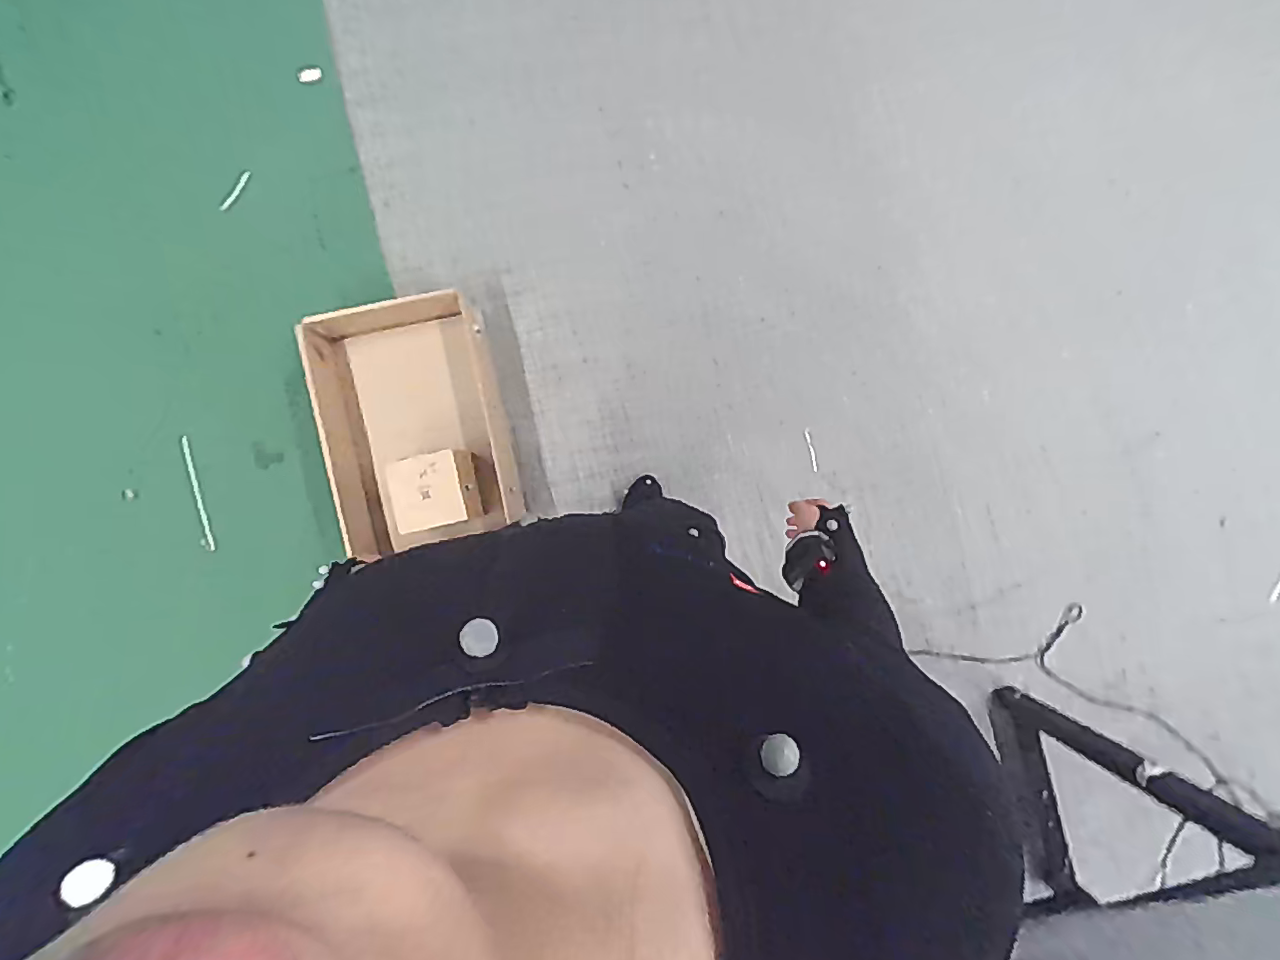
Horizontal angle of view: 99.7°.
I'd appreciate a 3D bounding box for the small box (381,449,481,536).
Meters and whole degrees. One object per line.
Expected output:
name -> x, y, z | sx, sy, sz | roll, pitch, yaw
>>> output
small box -> -0.503, 0.028, 1.328 | 0.168, 0.176, 0.179 | -13, 90, -3
